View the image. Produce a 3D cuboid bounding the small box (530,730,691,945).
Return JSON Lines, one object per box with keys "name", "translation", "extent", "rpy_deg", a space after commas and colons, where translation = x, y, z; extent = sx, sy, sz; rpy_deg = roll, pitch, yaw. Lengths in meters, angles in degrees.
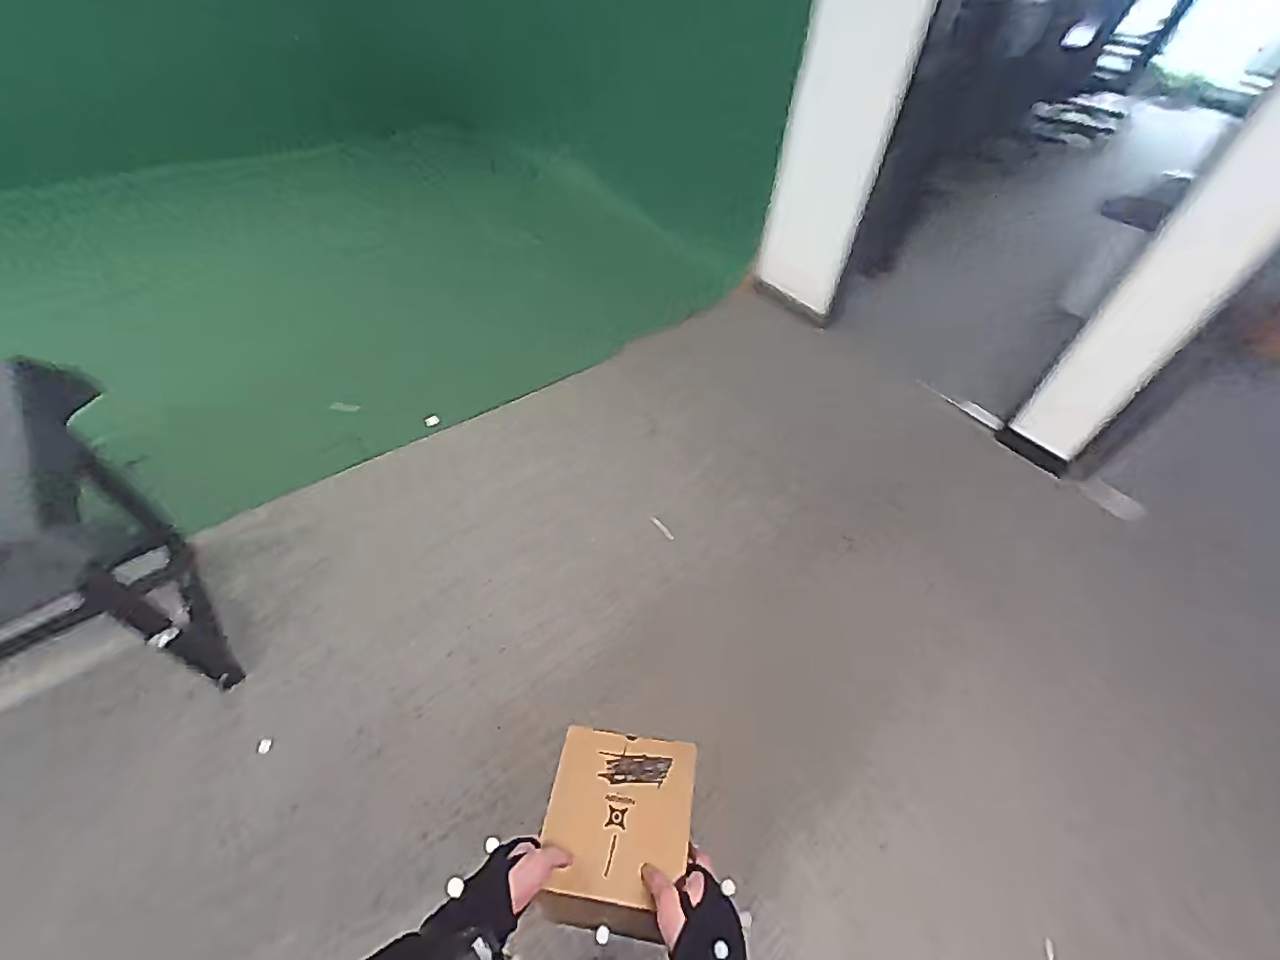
{"name": "small box", "translation": [-0.027, 0.446, 0.681], "extent": [0.168, 0.176, 0.179], "rpy_deg": [4, 42, 6]}
